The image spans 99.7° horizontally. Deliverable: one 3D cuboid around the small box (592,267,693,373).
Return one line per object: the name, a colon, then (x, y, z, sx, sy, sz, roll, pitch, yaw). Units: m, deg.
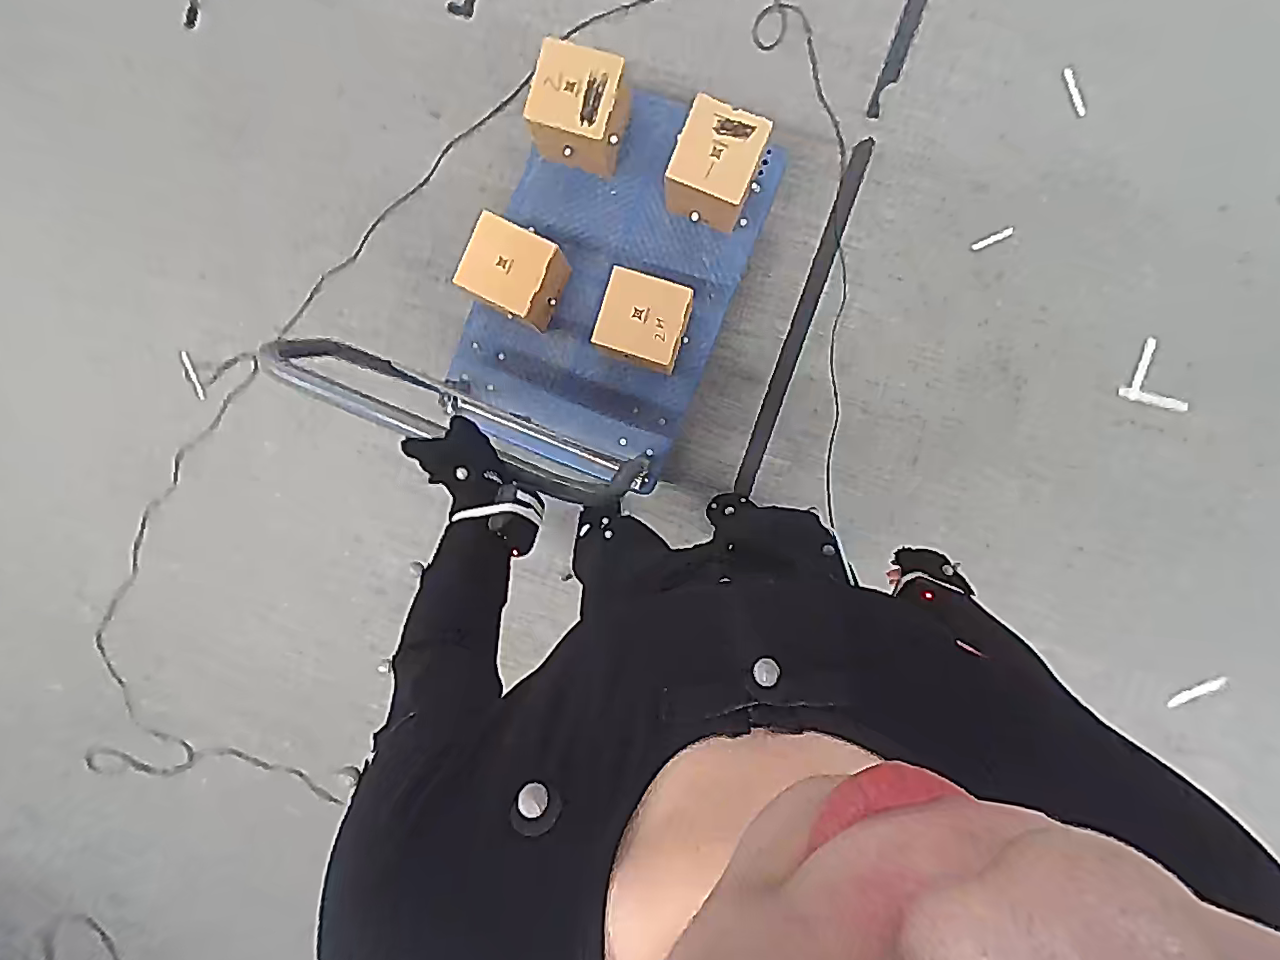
small box: (0.010, -0.345, 1.202, 0.179, 0.176, 0.168, 18, 95, 3)

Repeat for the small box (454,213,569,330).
small box: (-0.279, -0.456, 1.214, 0.179, 0.176, 0.168, 25, 95, 0)

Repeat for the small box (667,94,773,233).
small box: (0.164, -0.671, 1.167, 0.168, 0.176, 0.179, 23, 97, 2)
